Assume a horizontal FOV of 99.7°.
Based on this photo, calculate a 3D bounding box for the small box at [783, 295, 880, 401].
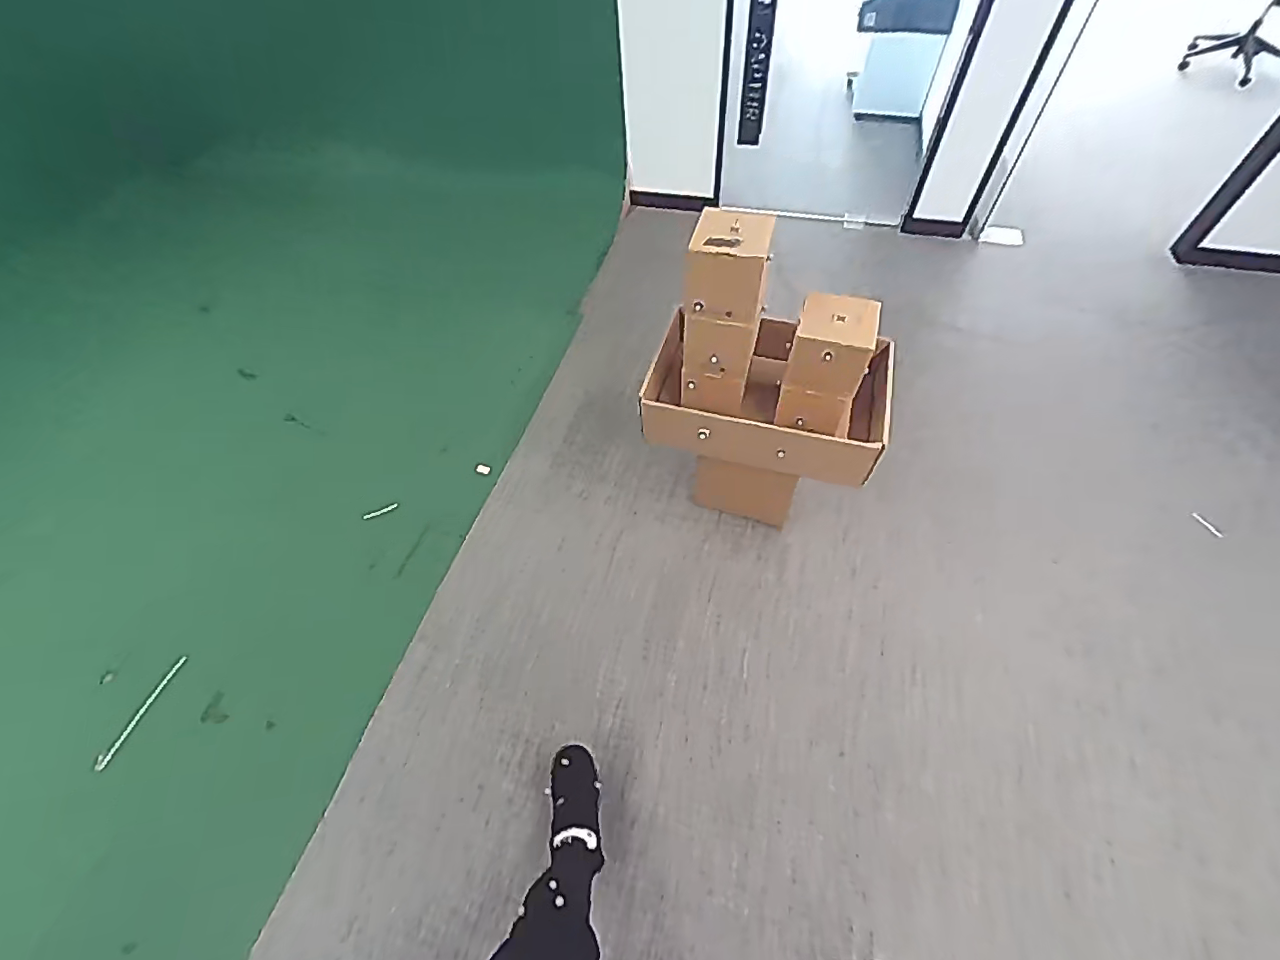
[{"bbox_3d":[0.457,-0.315,1.307,0.179,0.176,0.168,15,58,11],"label":"small box"}]

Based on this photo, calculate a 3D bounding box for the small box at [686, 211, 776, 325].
[{"bbox_3d":[0.201,-0.477,1.225,0.168,0.176,0.179,12,55,10],"label":"small box"}]

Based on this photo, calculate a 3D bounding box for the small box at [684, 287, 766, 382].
[{"bbox_3d":[0.207,-0.377,1.355,0.168,0.176,0.179,13,56,11],"label":"small box"}]
